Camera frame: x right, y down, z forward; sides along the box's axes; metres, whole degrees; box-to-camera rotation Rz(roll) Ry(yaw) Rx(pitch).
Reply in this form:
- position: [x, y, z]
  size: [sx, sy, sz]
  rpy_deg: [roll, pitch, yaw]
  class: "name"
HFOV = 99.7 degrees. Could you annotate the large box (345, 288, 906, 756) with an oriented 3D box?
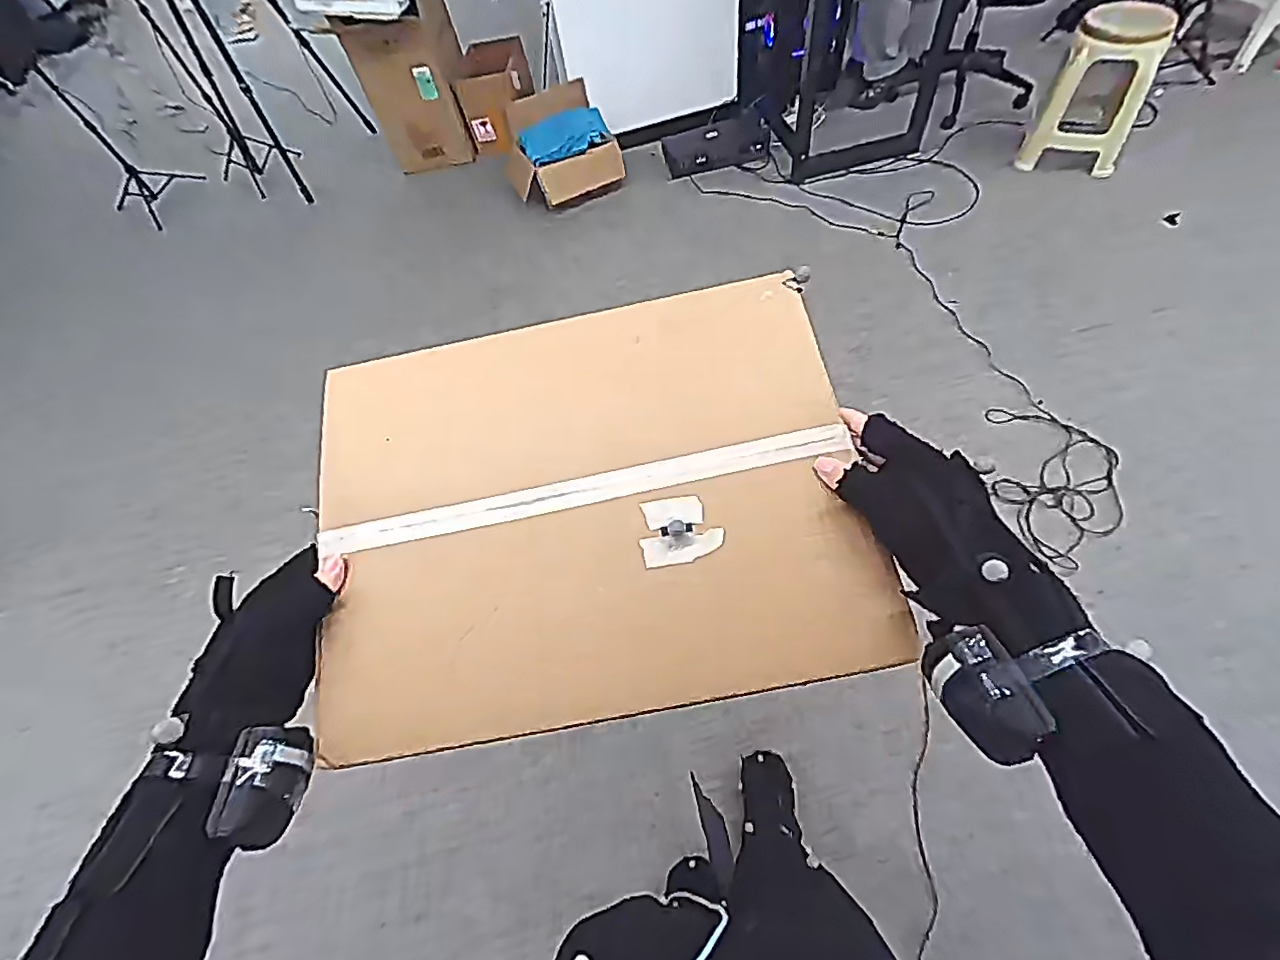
- position: [-0.024, 0.065, 0.562]
  size: [0.408, 0.320, 0.320]
  rpy_deg: [-12, 70, 2]
  class: "large box"
